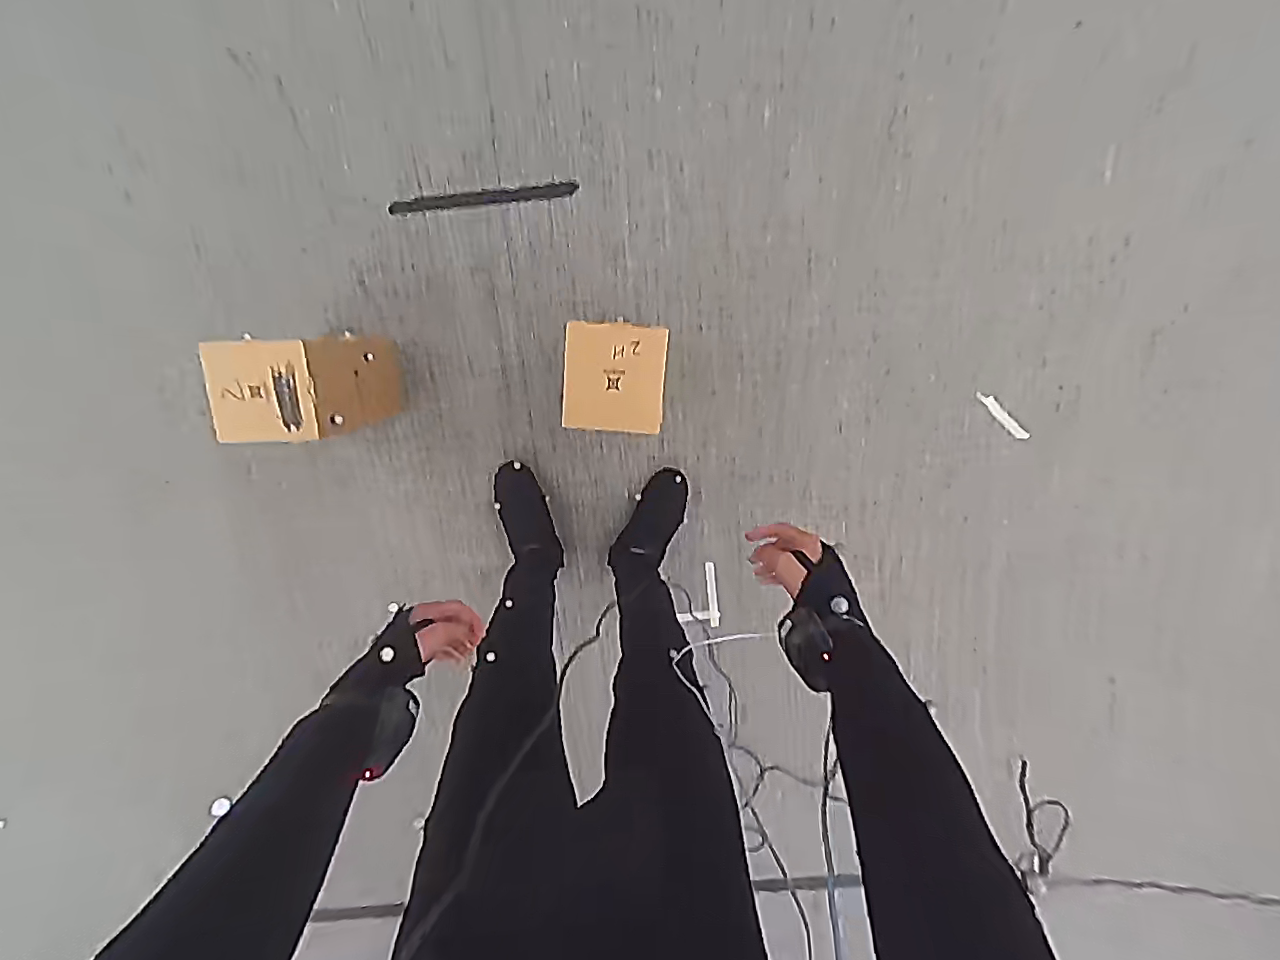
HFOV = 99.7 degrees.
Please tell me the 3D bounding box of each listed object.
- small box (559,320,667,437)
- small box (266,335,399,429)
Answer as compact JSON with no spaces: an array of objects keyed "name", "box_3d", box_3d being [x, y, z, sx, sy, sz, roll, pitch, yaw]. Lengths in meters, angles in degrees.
[{"name":"small box","box_3d":[-0.047,-0.182,0.955,0.168,0.176,0.179,5,104,-3]},{"name":"small box","box_3d":[-0.617,-0.205,1.111,0.168,0.176,0.179,-2,103,0]}]
